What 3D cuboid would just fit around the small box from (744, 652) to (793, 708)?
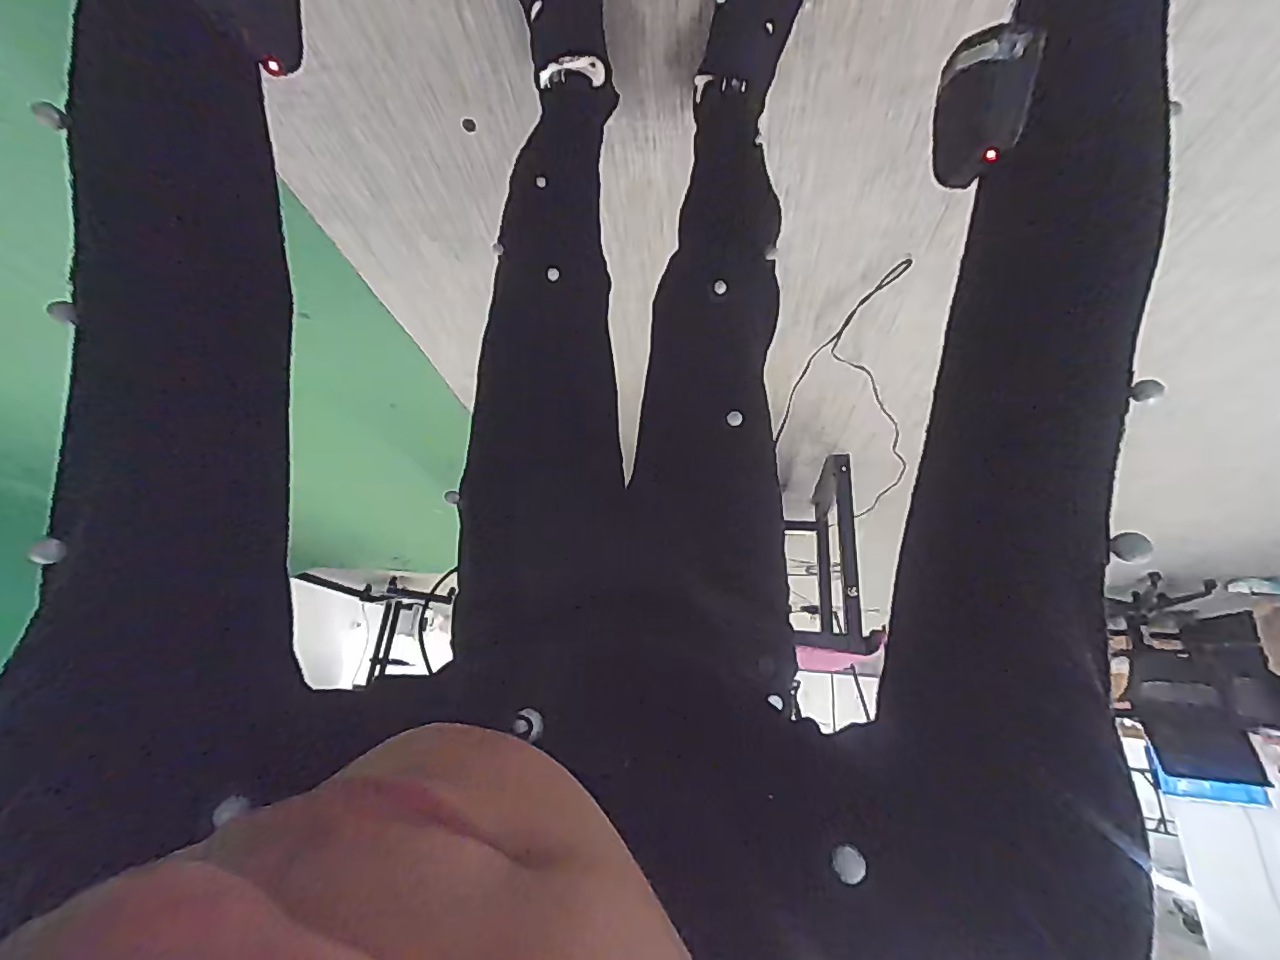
[{"bbox_3d":[0.465,0.726,1.954,0.168,0.176,0.179,0,156,13],"label":"small box"}]
